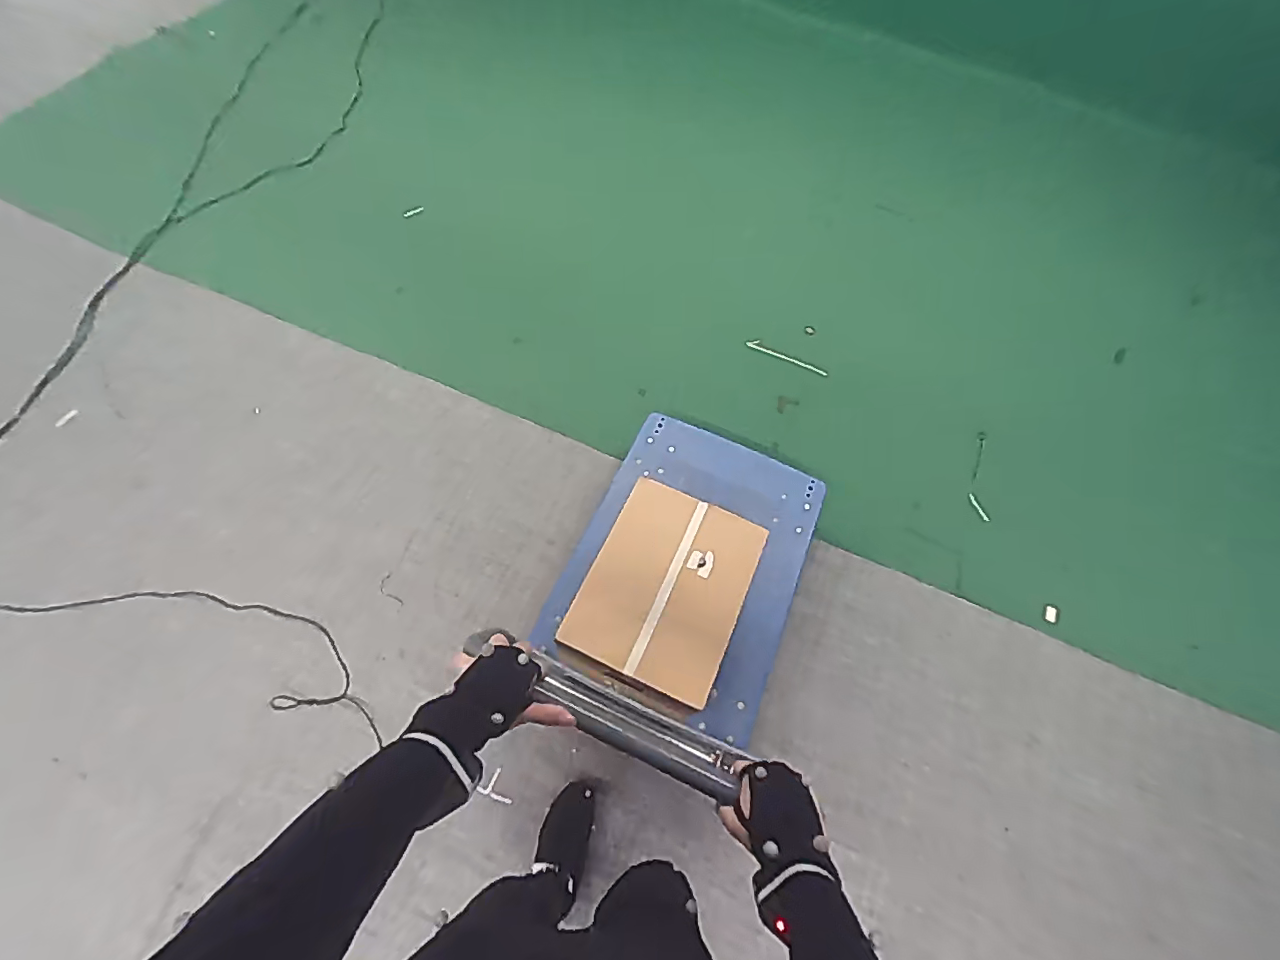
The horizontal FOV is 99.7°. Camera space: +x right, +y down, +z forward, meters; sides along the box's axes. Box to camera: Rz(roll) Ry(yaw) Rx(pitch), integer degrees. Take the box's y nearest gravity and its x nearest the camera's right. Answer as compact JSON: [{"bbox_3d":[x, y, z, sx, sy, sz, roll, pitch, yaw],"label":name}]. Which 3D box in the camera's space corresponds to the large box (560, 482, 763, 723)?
[{"bbox_3d":[0.046,0.289,1.247,0.320,0.320,0.408,24,62,7],"label":"large box"}]
